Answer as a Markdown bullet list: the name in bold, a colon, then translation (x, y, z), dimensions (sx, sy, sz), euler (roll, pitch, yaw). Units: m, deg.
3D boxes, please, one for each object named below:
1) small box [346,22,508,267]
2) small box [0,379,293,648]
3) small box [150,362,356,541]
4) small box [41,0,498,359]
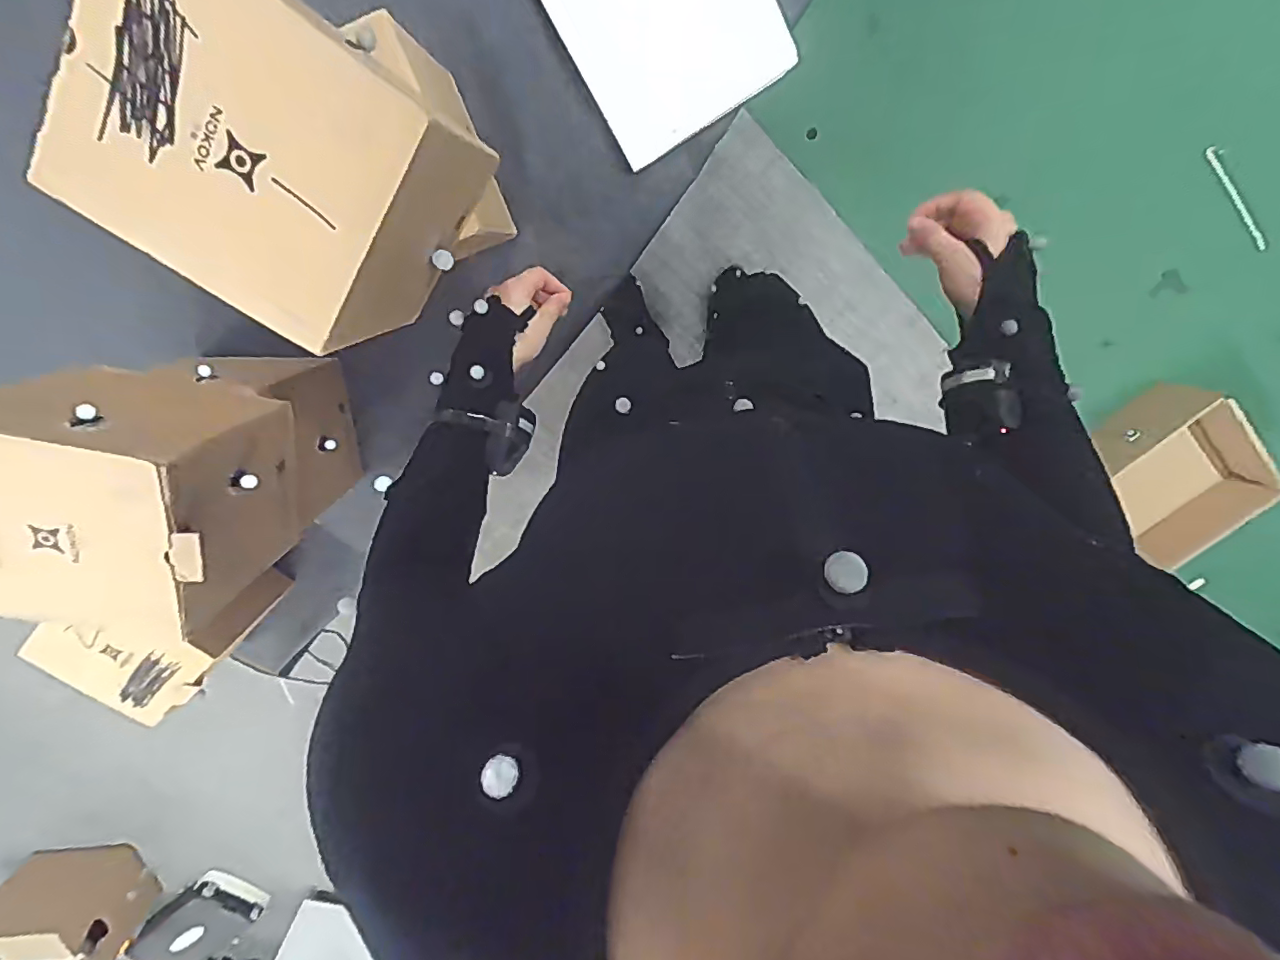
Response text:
- **small box**: translation (-0.244, -0.288, 0.525), dimensions (0.179, 0.176, 0.168), euler (-19, 113, 8)
- **small box**: translation (-0.437, 0.018, 0.479), dimensions (0.179, 0.176, 0.168), euler (11, 112, -5)
- **small box**: translation (-0.457, -0.040, 0.630), dimensions (0.179, 0.176, 0.168), euler (0, 113, -1)
- **small box**: translation (-0.228, -0.213, 0.378), dimensions (0.179, 0.176, 0.168), euler (33, 110, -14)
